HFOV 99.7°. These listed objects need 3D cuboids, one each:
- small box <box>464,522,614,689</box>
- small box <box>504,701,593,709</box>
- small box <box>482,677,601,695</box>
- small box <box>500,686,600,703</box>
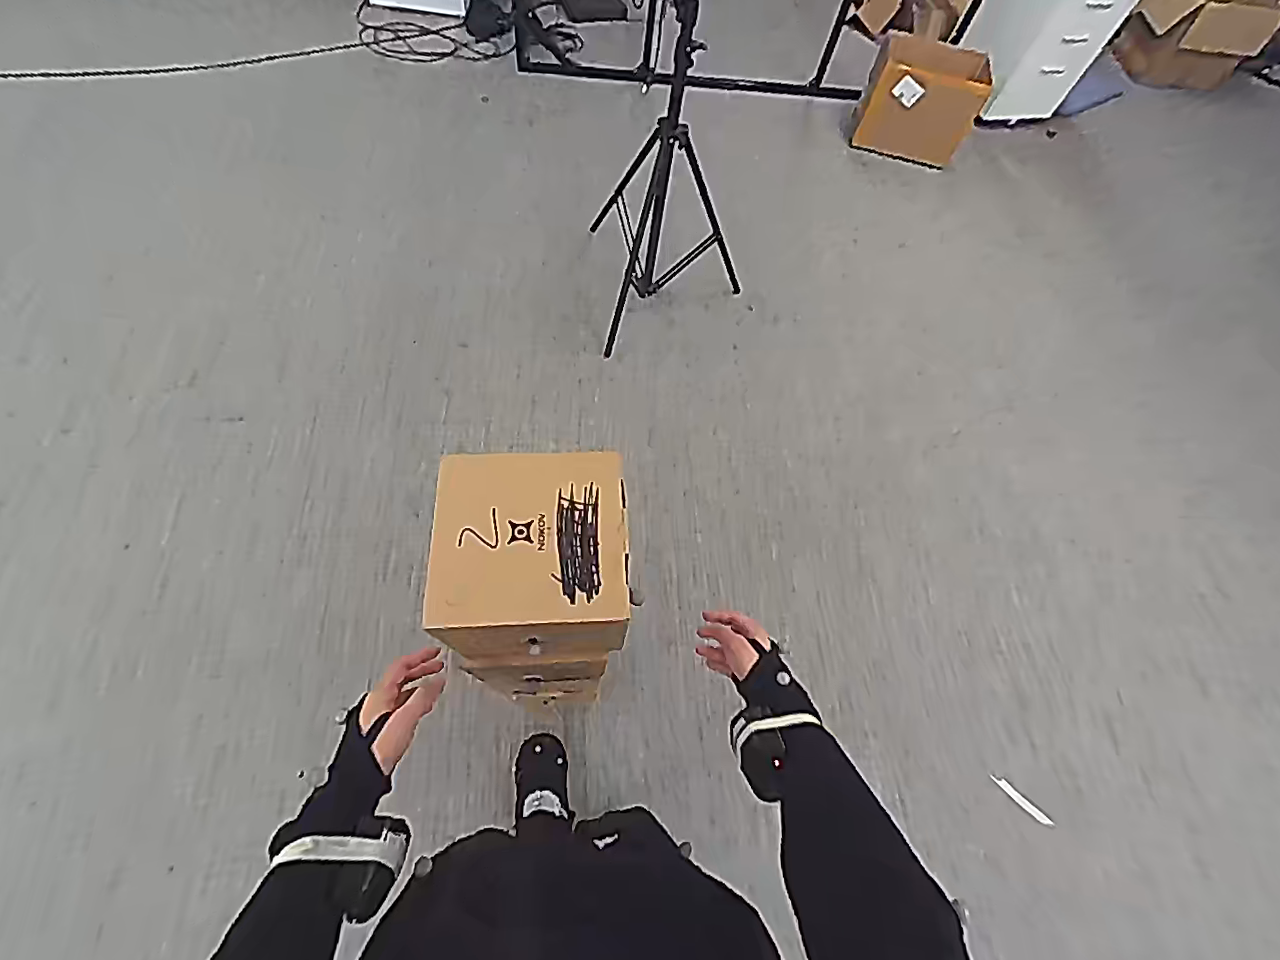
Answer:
[{"bbox_3d":[-0.124,0.166,0.700,0.168,0.176,0.179,-2,65,-6],"label":"small box"},{"bbox_3d":[-0.181,0.387,1.133,0.179,0.176,0.168,2,64,-5],"label":"small box"},{"bbox_3d":[-0.142,0.238,0.844,0.168,0.176,0.179,0,63,-6],"label":"small box"},{"bbox_3d":[-0.155,0.313,0.990,0.168,0.176,0.179,1,65,-6],"label":"small box"}]
